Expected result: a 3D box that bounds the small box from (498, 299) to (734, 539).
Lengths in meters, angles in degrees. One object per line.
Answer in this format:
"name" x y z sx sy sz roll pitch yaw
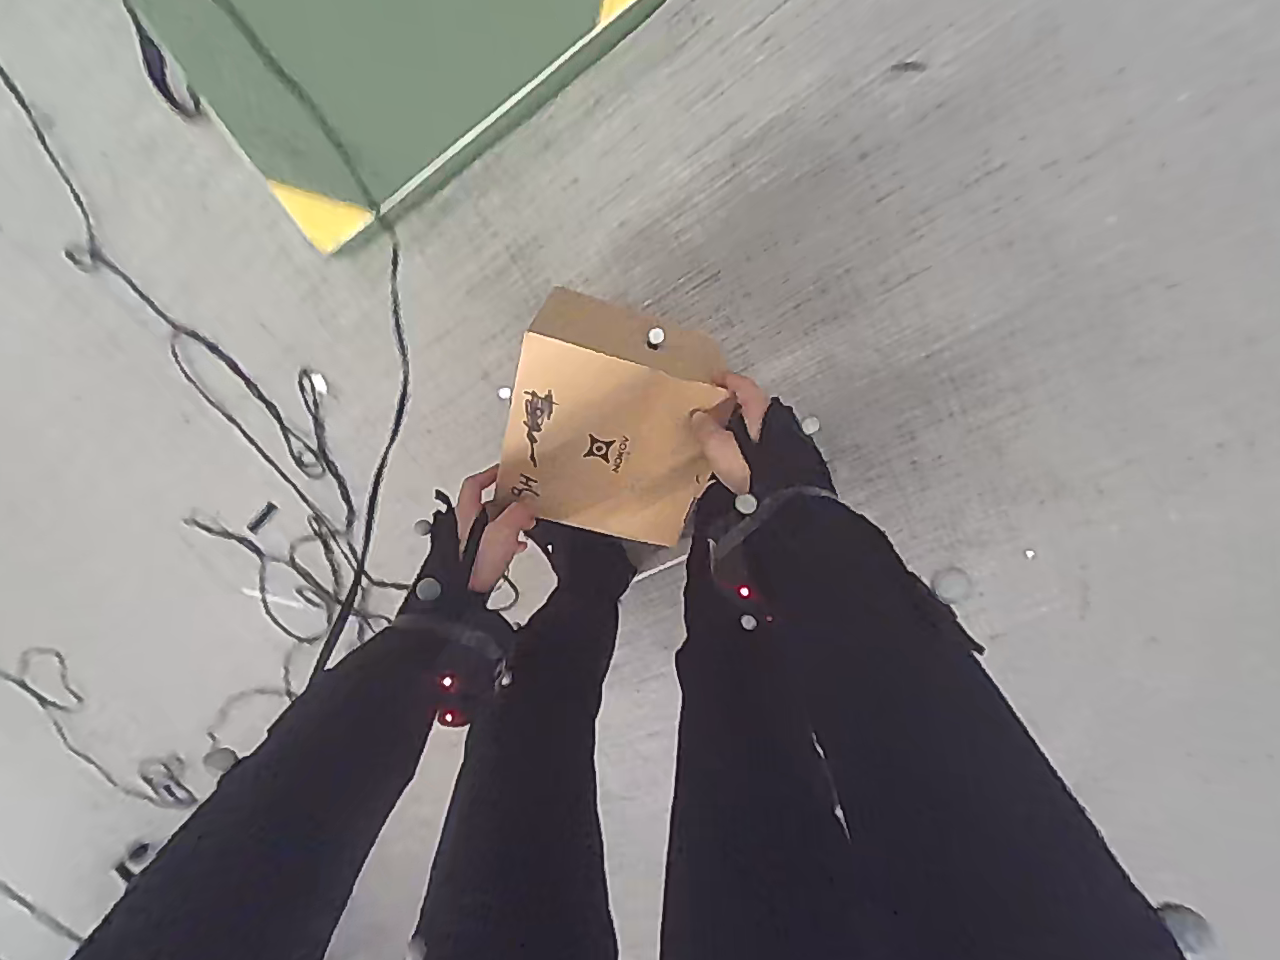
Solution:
"small box" -0.028 -0.069 0.544 0.179 0.176 0.168 14 118 -9
